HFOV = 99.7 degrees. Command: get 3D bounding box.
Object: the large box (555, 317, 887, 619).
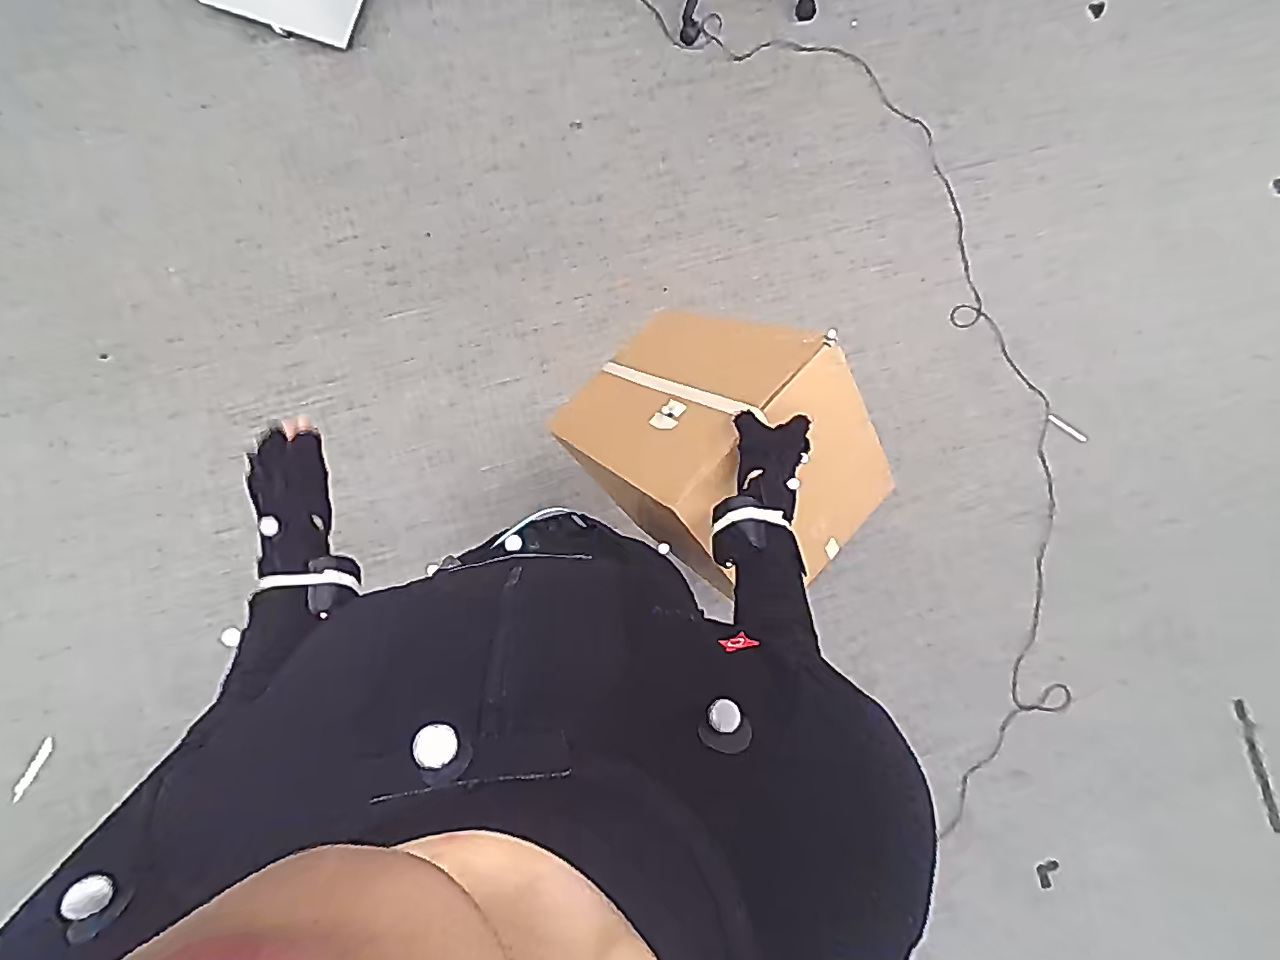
[{"bbox_3d":[0.127,-0.043,0.925,0.320,0.408,0.320,-46,127,-8],"label":"large box"}]
